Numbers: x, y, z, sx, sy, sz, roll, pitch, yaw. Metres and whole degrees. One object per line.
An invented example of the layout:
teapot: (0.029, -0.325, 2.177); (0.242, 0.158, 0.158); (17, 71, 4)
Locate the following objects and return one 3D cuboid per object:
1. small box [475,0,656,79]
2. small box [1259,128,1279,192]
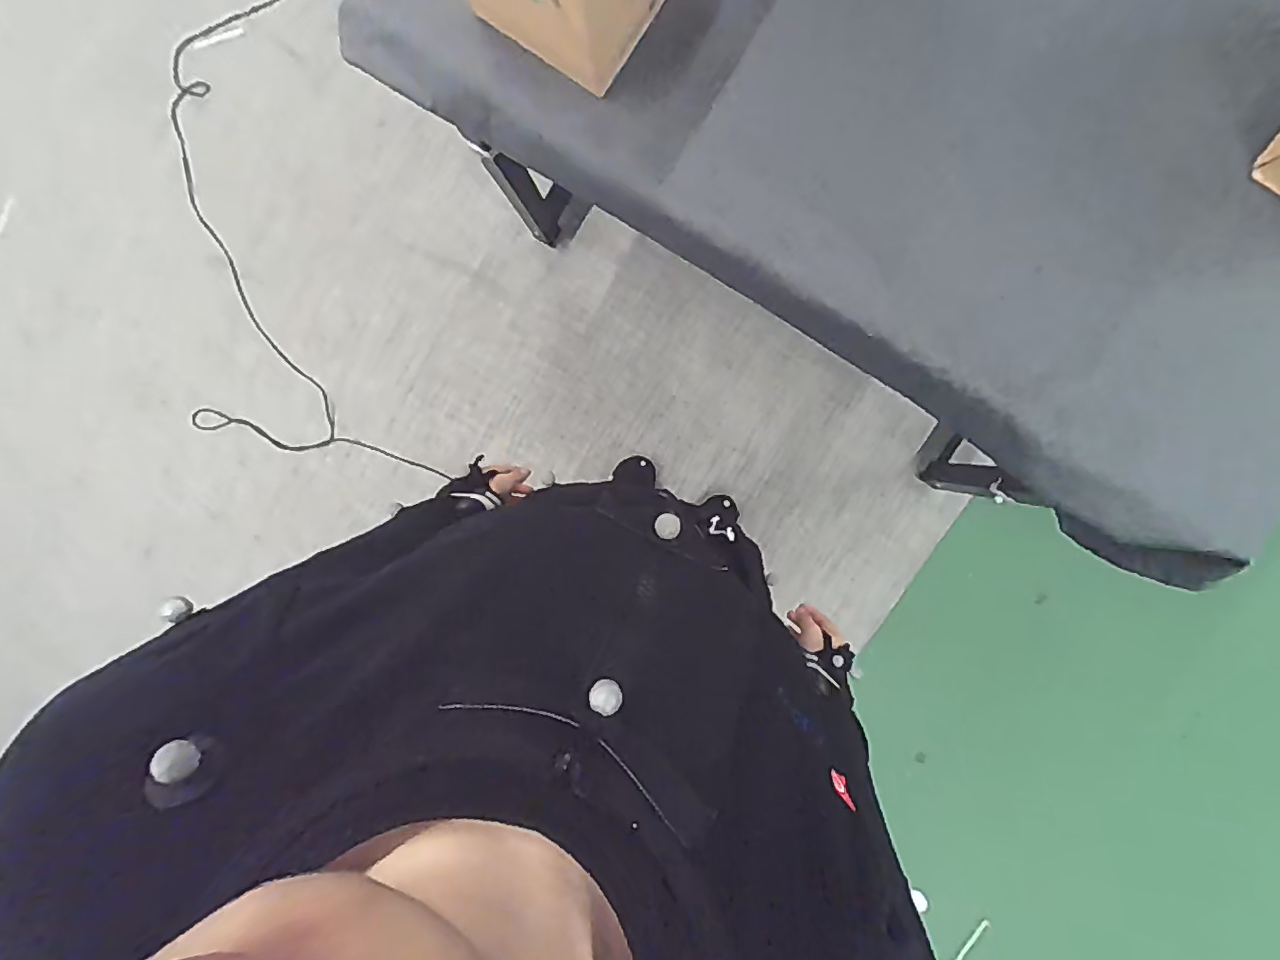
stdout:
small box: (-0.072, -0.542, 0.522); (0.179, 0.176, 0.168); (35, 93, 0)
small box: (0.754, -0.346, 0.485); (0.168, 0.176, 0.179); (35, 97, 1)
